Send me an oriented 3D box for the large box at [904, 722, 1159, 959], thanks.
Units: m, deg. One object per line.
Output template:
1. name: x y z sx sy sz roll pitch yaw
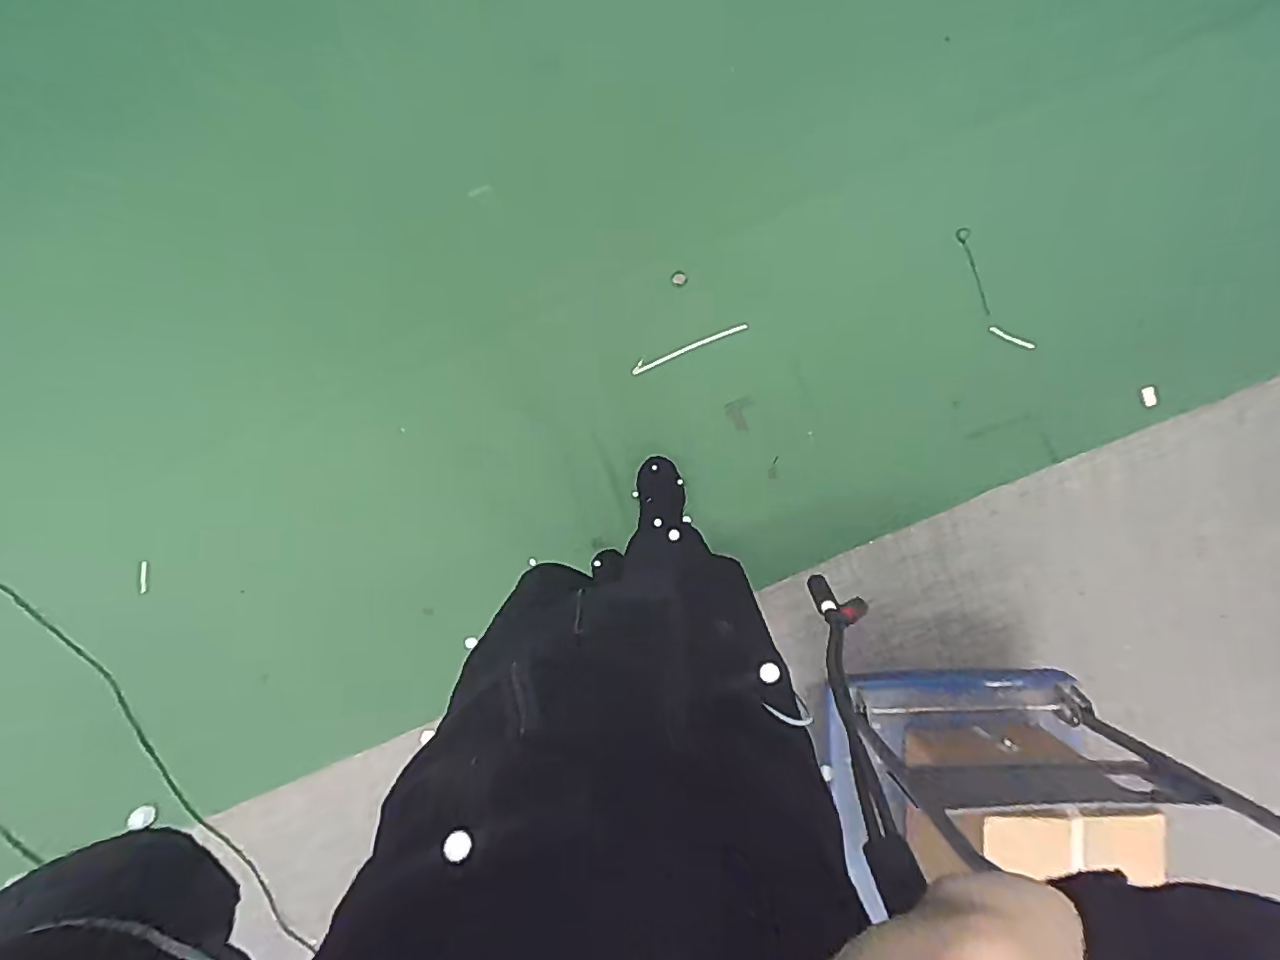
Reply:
1. large box: 0.763 0.764 1.103 0.320 0.320 0.408 -2 93 2
